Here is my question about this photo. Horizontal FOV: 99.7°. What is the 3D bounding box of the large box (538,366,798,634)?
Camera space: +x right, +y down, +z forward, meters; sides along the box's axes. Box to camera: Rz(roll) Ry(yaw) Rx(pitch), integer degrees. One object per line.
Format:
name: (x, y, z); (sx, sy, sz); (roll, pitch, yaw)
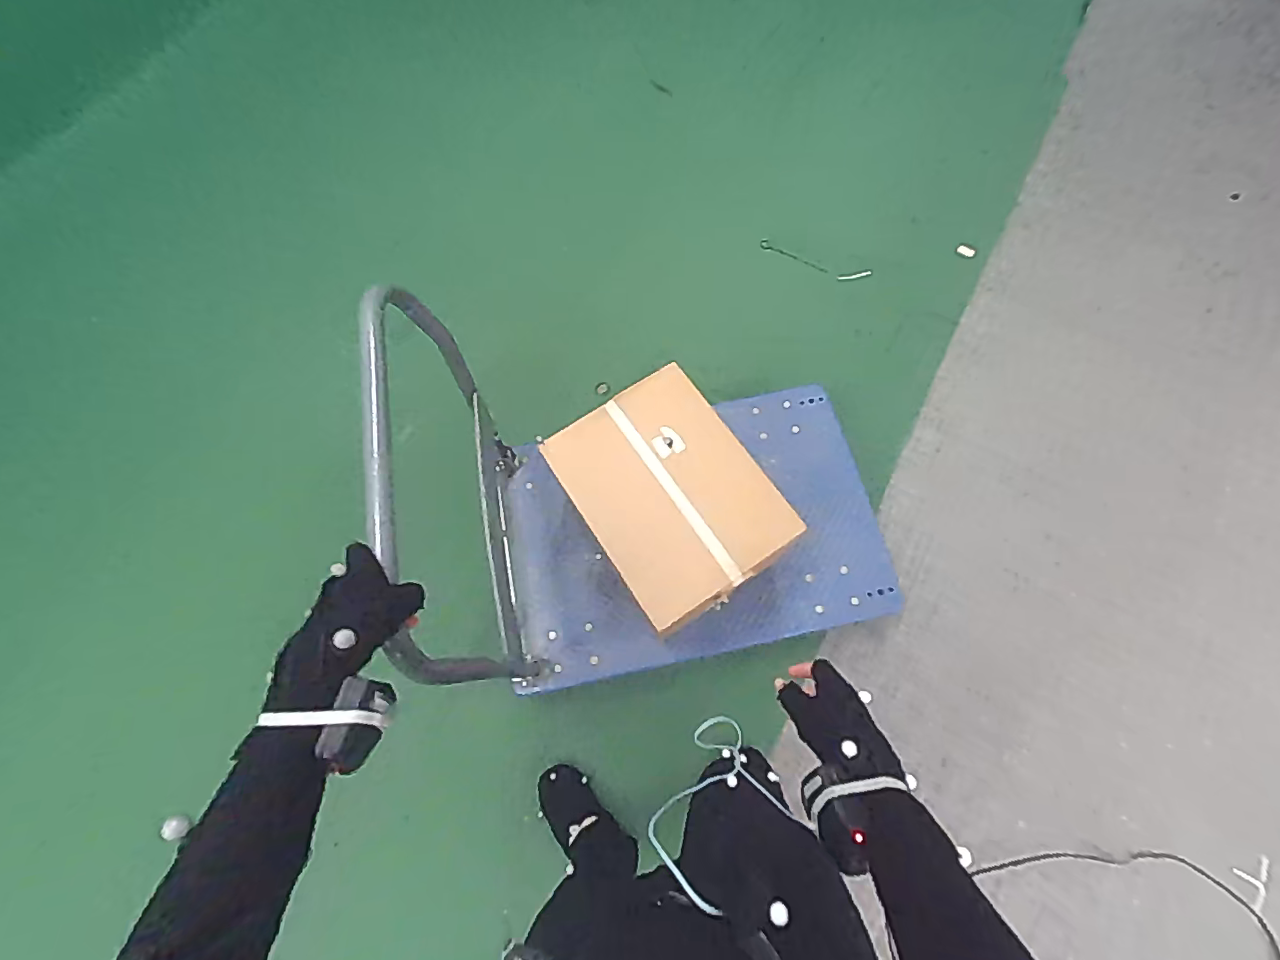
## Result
large box: (0.053, 0.057, 1.115); (0.320, 0.320, 0.408); (-33, 72, -9)
